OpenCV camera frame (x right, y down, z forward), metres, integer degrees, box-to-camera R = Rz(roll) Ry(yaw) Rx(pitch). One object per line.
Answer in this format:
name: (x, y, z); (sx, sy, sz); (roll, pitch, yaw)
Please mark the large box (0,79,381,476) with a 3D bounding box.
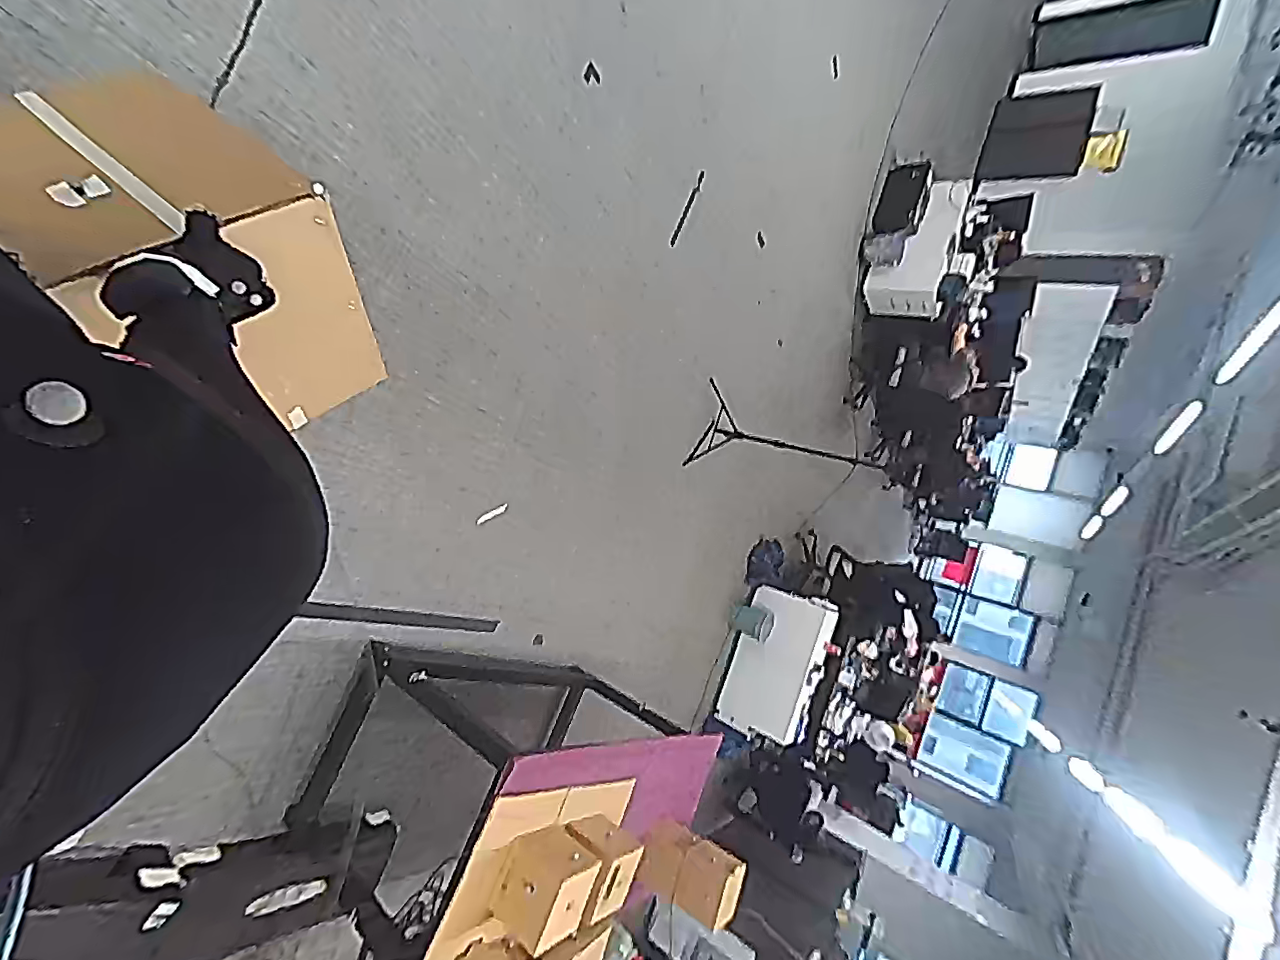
large box: (-0.653, -0.284, 0.763); (0.320, 0.408, 0.320); (-43, 163, -30)
